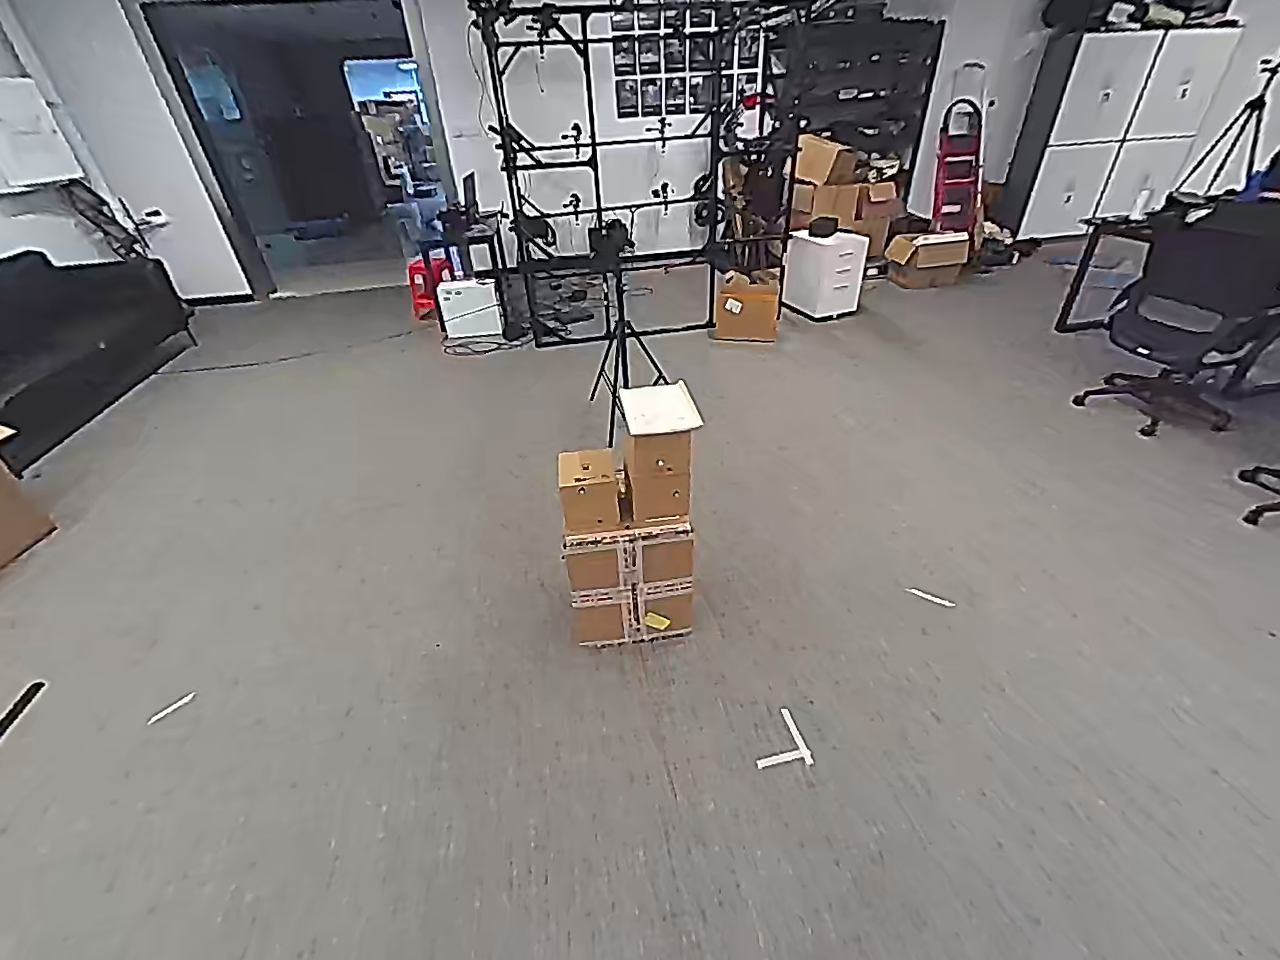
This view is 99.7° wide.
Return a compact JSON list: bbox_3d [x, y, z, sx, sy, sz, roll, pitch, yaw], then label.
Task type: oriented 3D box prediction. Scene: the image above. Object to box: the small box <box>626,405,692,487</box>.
[{"bbox_3d":[0.048,-0.098,1.562,0.168,0.176,0.179,-6,37,-7],"label":"small box"}]
